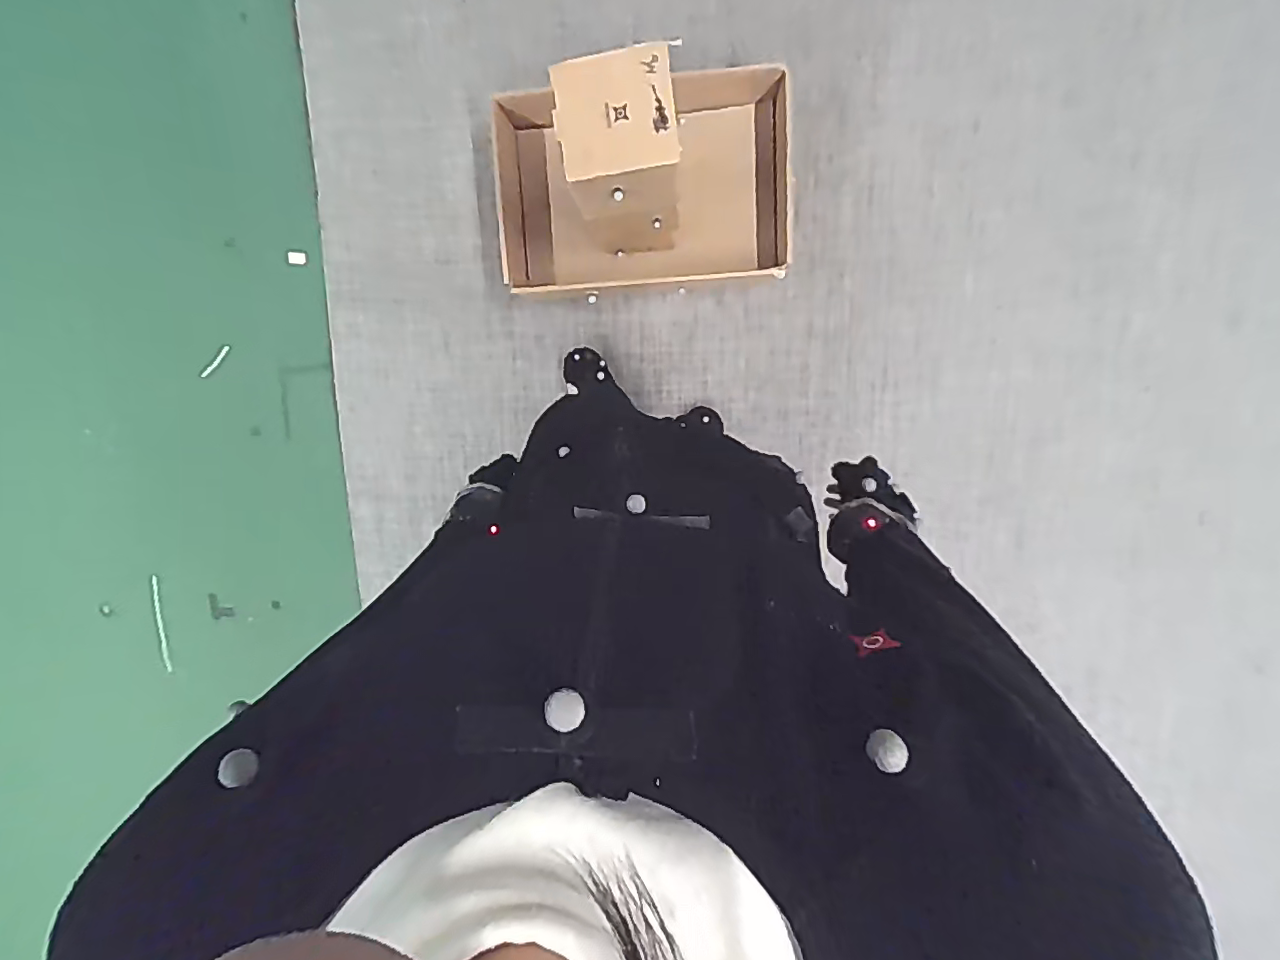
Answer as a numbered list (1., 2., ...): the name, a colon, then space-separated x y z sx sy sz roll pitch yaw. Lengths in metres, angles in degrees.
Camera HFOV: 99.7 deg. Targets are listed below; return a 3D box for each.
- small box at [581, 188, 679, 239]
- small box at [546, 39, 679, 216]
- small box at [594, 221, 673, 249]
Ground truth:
1. small box: -0.024 -0.573 1.017 0.179 0.176 0.168 -9 98 6
2. small box: -0.035 -0.552 0.873 0.179 0.176 0.168 -10 96 6
3. small box: -0.014 -0.619 1.189 0.168 0.176 0.179 -2 99 6
